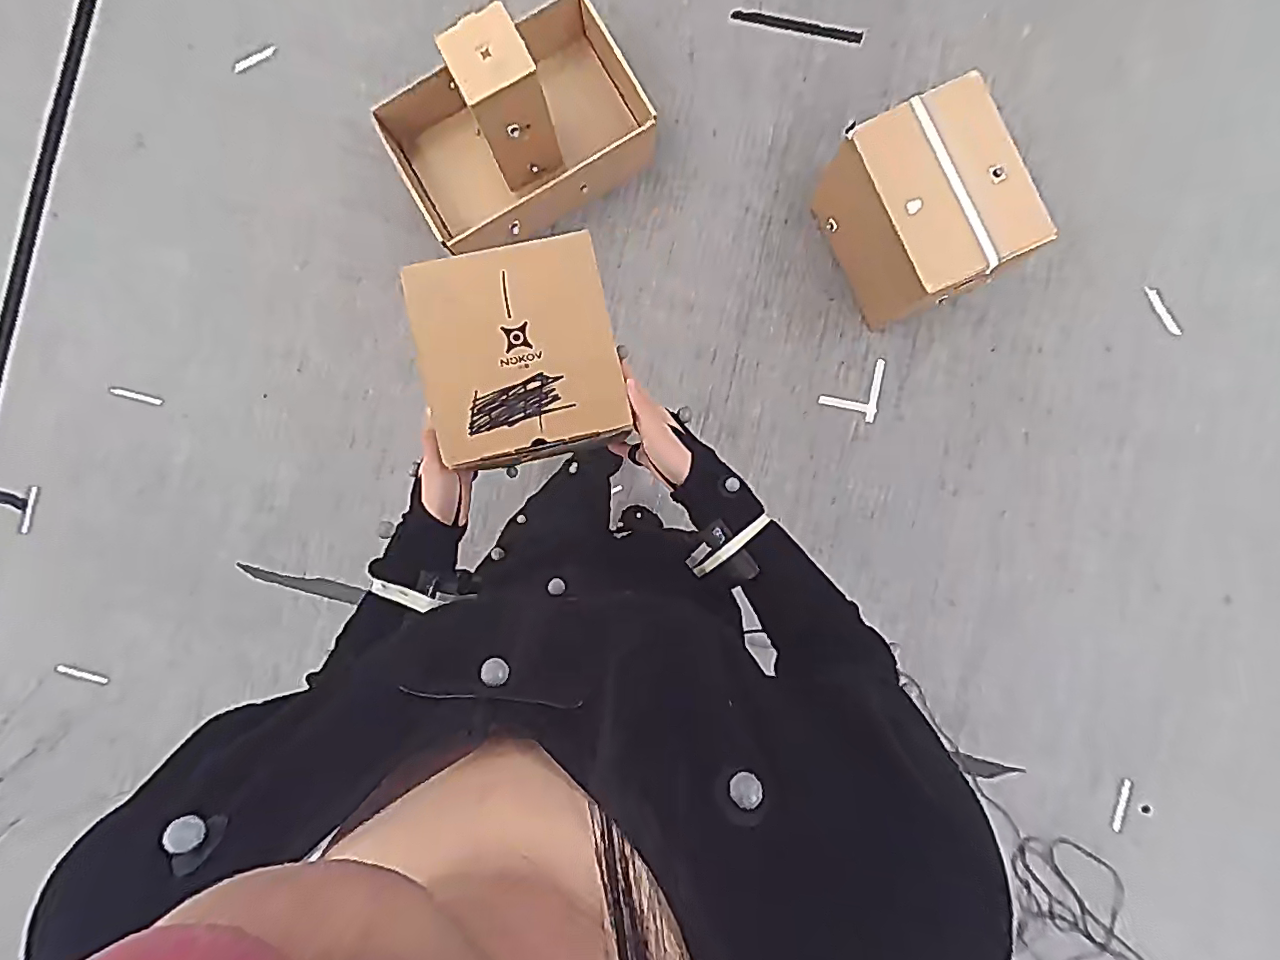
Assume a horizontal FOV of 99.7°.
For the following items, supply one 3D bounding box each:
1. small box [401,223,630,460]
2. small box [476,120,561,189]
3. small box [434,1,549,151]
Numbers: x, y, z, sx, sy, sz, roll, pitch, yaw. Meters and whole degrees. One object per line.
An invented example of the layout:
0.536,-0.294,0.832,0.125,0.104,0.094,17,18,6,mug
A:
-0.108,-0.119,0.535,0.168,0.176,0.179,-13,91,-4,small box
-0.320,-0.893,1.381,0.168,0.176,0.179,-27,89,2,small box
-0.325,-0.897,1.218,0.168,0.176,0.179,-28,89,2,small box
